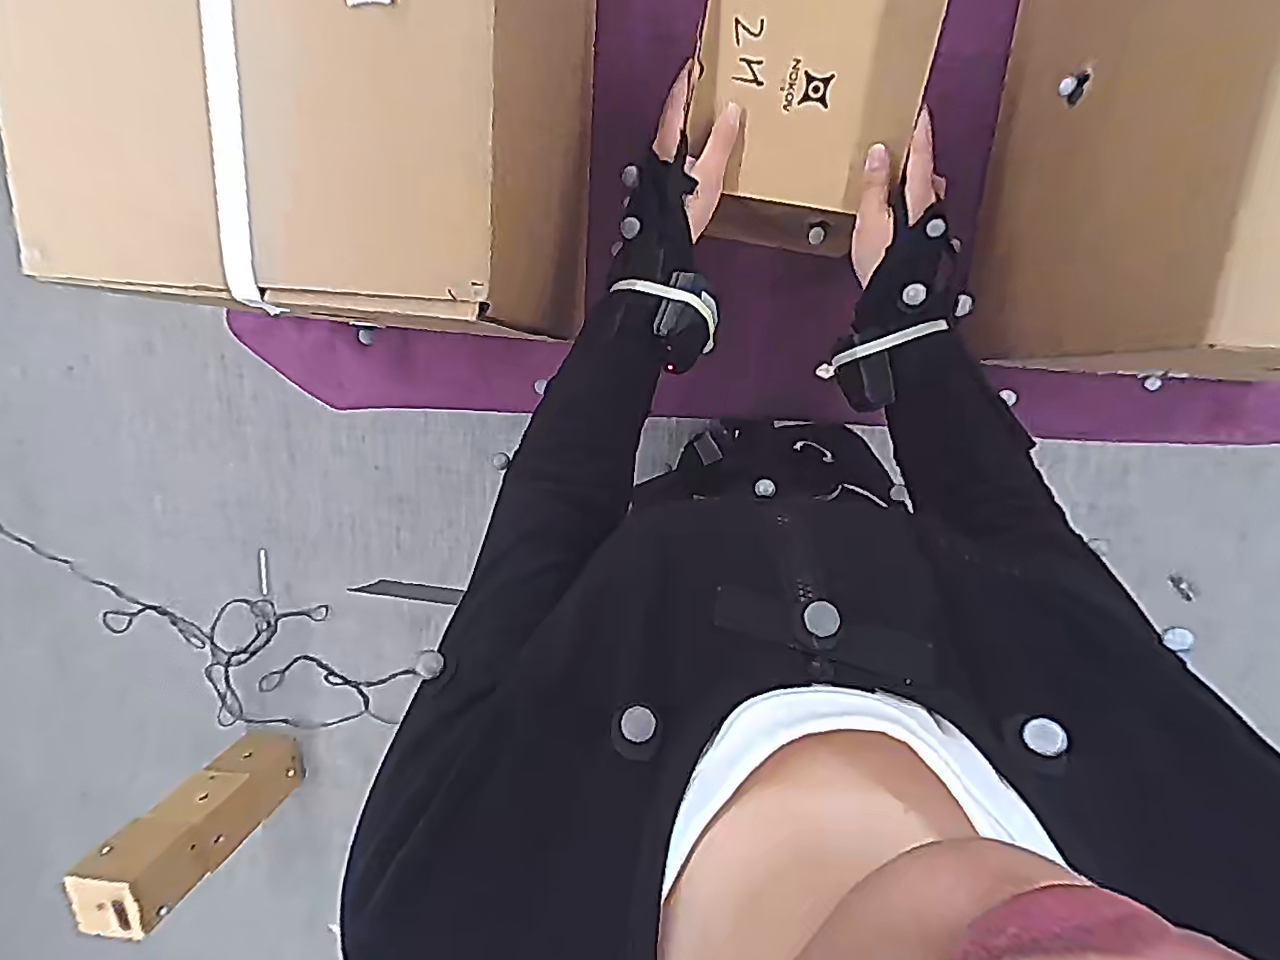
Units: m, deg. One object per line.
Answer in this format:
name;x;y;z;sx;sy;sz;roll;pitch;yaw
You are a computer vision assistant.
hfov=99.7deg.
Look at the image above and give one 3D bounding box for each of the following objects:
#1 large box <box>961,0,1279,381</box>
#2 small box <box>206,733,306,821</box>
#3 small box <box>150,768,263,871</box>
large box;0.479;-0.279;0.383;0.320;0.320;0.408;5;101;6
small box;-1.167;0.901;1.653;0.179;0.176;0.168;-1;103;7
small box;-1.188;0.930;1.495;0.168;0.176;0.179;1;103;7
